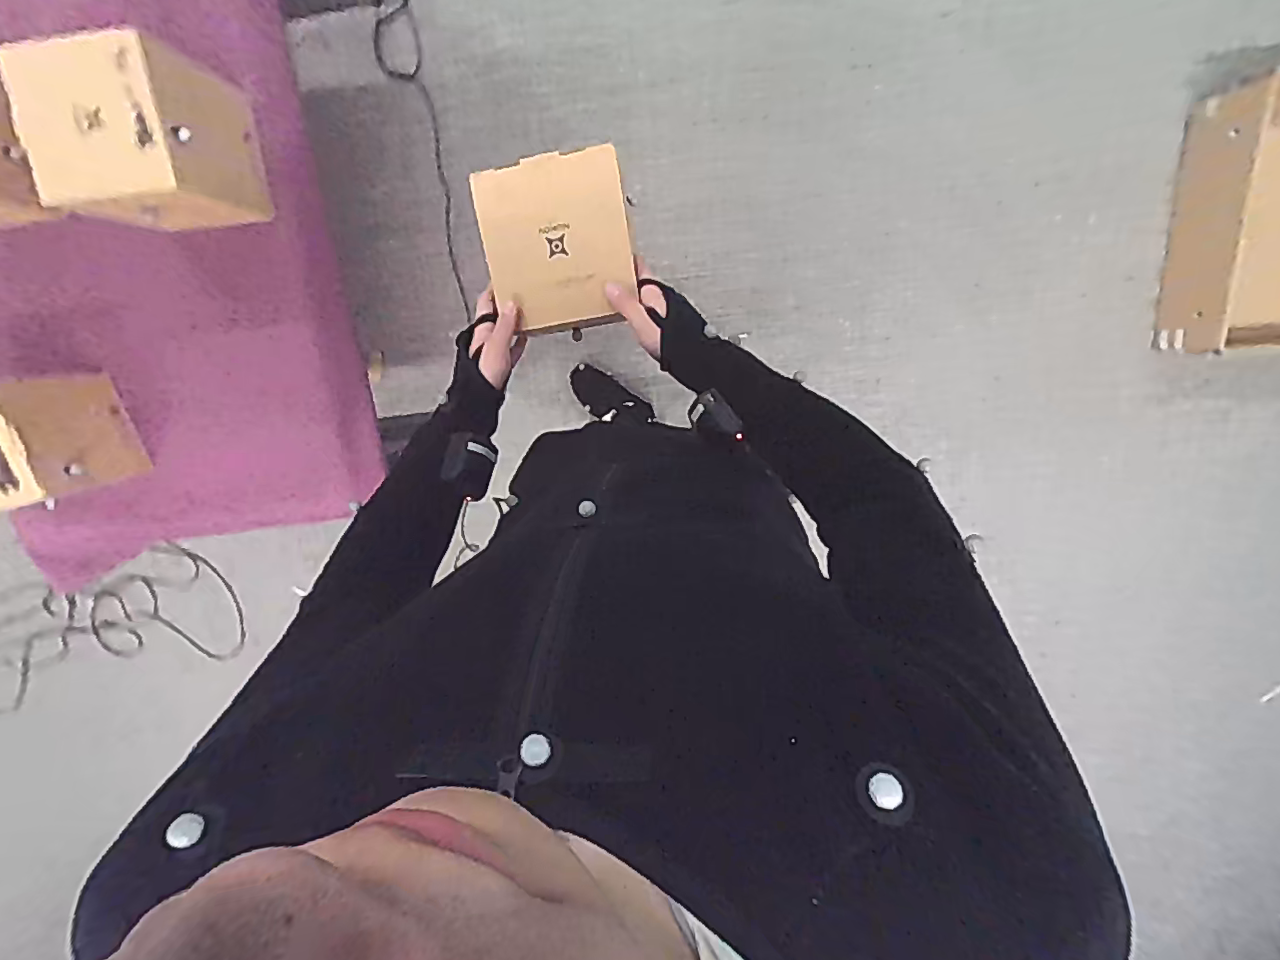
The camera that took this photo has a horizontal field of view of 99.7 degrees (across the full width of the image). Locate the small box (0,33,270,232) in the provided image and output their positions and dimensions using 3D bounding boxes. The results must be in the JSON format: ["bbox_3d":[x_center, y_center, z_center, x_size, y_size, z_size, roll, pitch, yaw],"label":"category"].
[{"bbox_3d":[-0.633,-0.429,0.699,0.179,0.176,0.168,-4,105,4],"label":"small box"}]

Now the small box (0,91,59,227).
[{"bbox_3d":[-0.947,-0.434,0.706,0.179,0.176,0.168,-7,104,2],"label":"small box"}]
